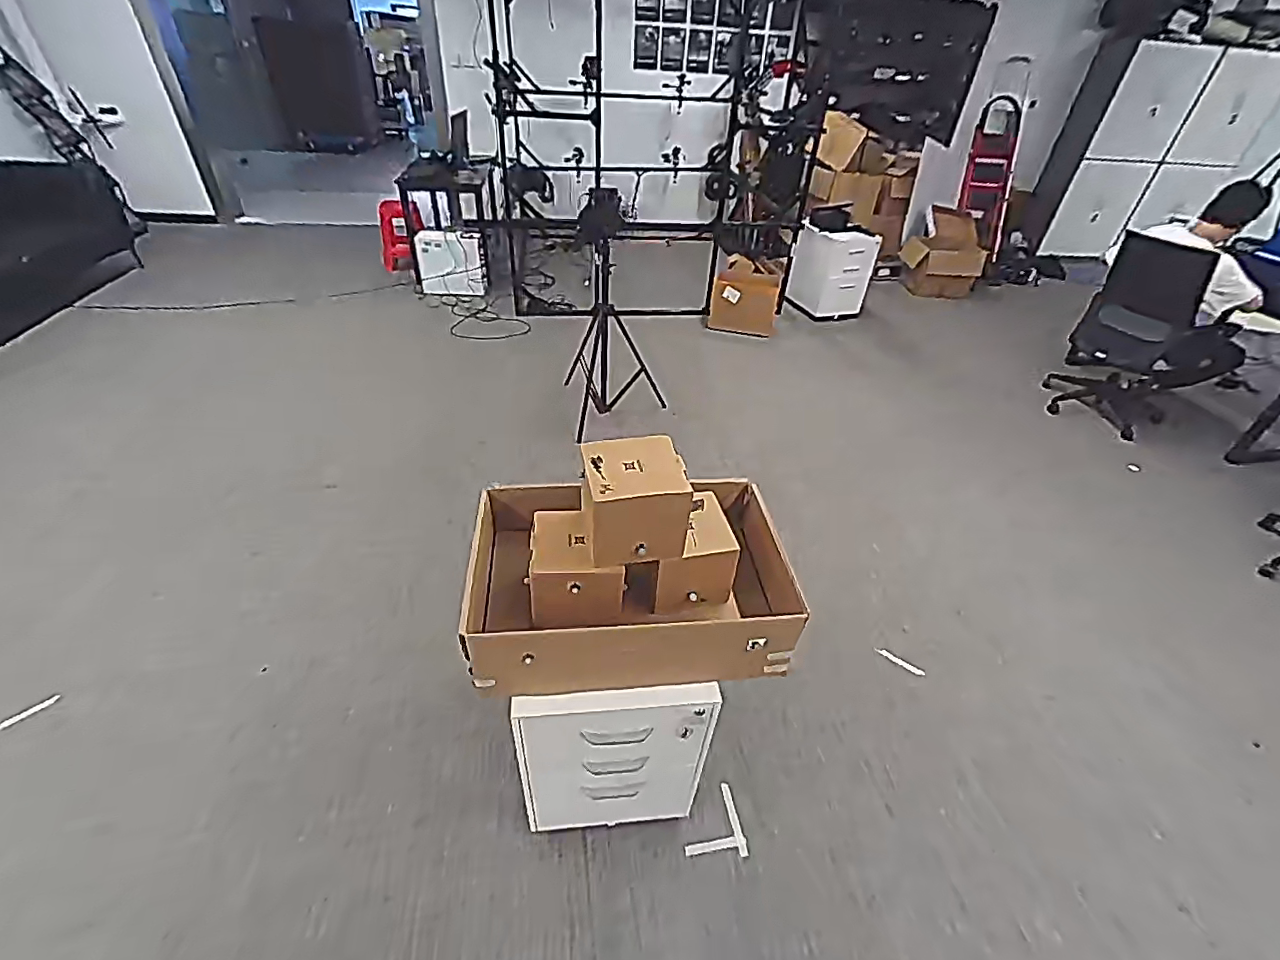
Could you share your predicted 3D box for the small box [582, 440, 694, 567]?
[{"bbox_3d":[-0.014,0.044,1.018,0.179,0.176,0.168,-5,41,-12],"label":"small box"}]
